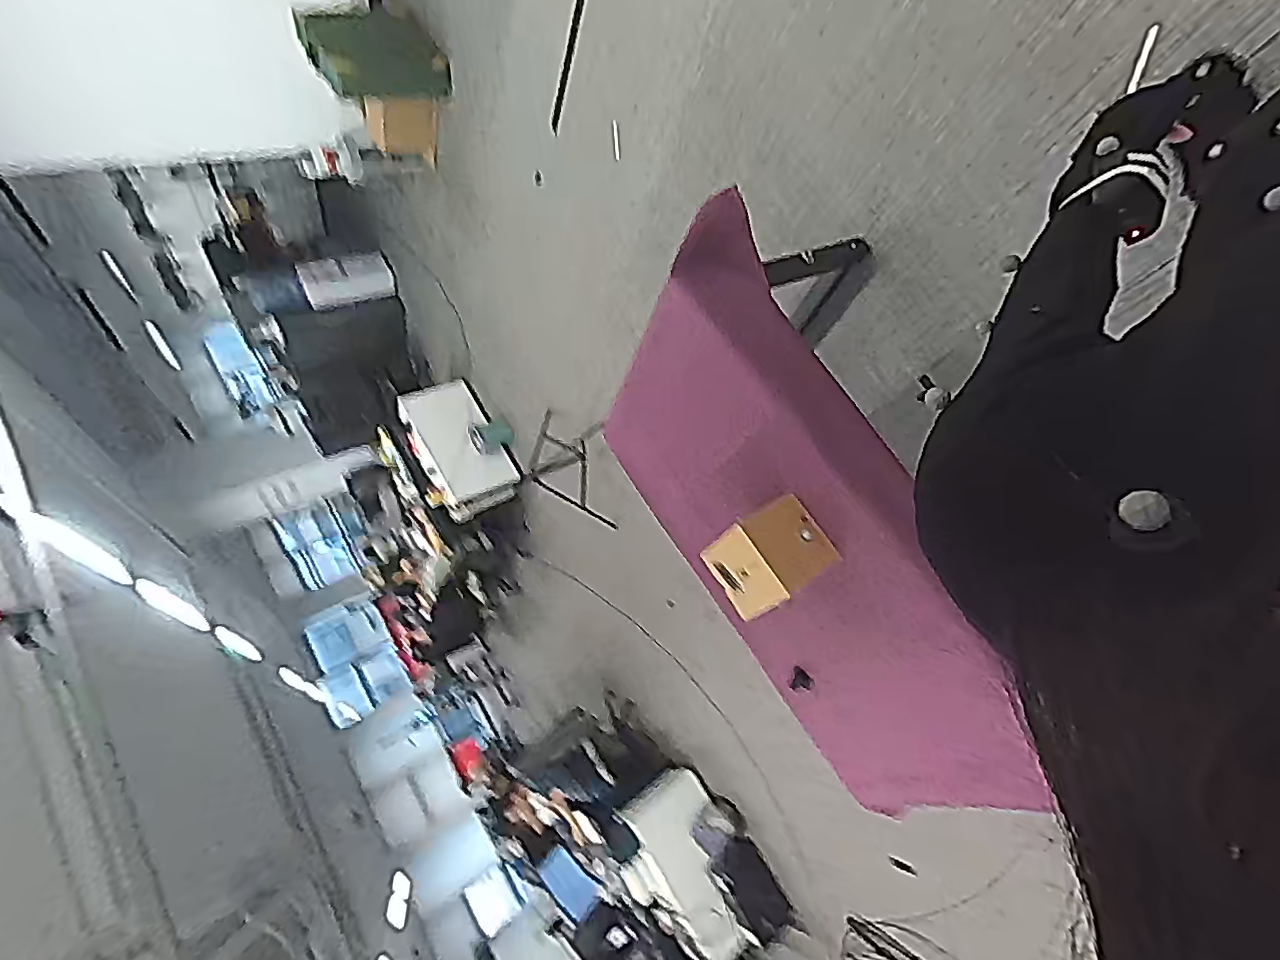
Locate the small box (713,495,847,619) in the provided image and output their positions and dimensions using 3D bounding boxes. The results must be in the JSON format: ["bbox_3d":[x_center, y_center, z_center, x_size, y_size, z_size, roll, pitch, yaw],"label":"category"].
[{"bbox_3d":[0.289,0.159,1.123,0.168,0.176,0.179,55,149,15],"label":"small box"}]
